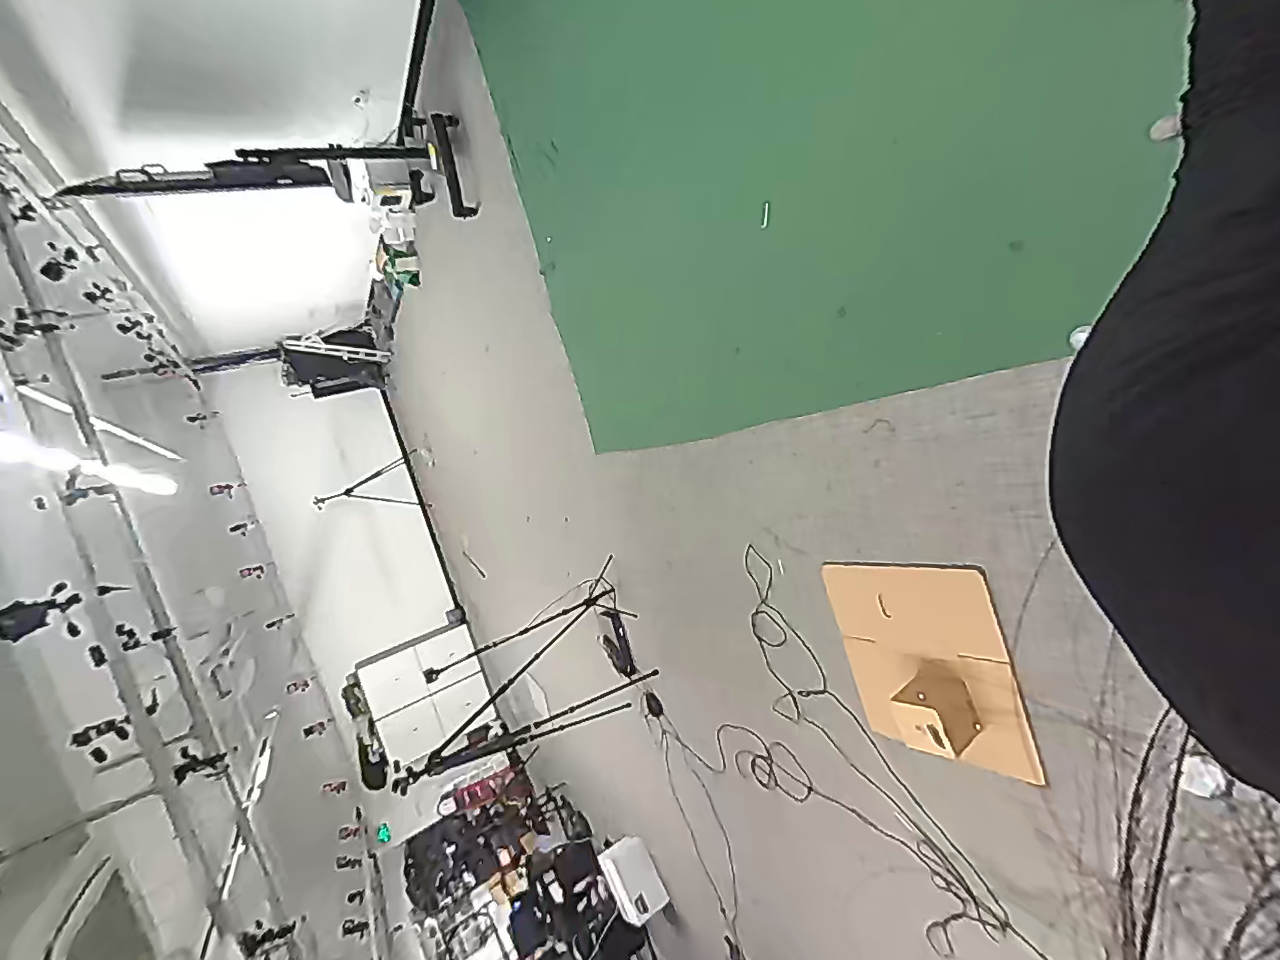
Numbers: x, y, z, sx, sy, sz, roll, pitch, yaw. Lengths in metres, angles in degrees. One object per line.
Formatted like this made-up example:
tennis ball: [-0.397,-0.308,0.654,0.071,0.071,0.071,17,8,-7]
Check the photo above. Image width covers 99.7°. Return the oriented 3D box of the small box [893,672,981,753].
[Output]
small box: [0.966,0.742,1.746,0.179,0.176,0.168,-23,88,61]
